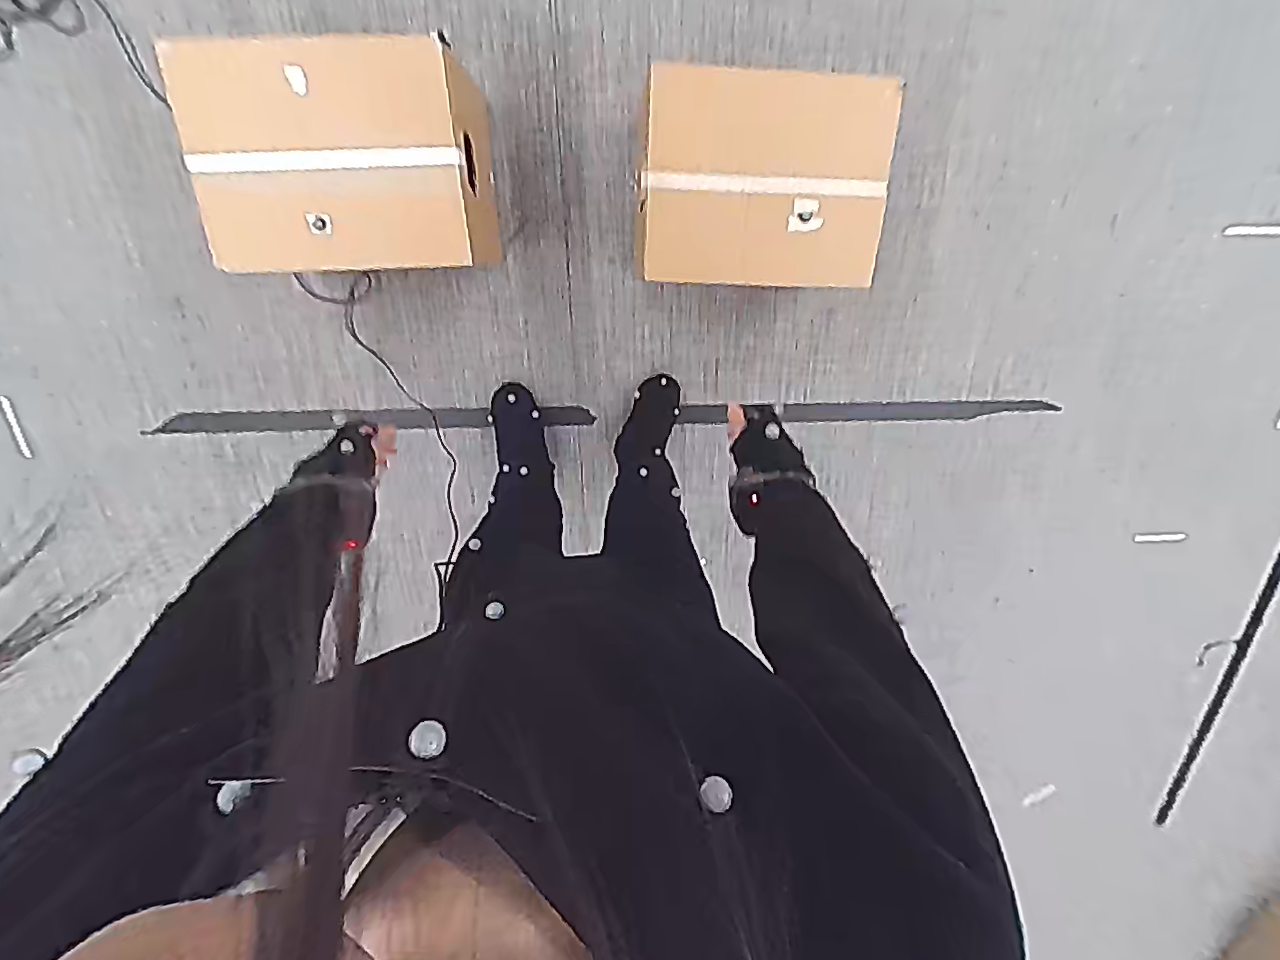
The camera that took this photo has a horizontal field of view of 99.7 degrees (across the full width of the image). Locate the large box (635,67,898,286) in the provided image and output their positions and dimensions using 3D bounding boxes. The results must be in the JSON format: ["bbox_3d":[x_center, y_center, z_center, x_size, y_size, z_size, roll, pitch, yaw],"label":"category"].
[{"bbox_3d":[0.201,-0.543,1.038,0.408,0.320,0.320,0,111,-5],"label":"large box"}]
